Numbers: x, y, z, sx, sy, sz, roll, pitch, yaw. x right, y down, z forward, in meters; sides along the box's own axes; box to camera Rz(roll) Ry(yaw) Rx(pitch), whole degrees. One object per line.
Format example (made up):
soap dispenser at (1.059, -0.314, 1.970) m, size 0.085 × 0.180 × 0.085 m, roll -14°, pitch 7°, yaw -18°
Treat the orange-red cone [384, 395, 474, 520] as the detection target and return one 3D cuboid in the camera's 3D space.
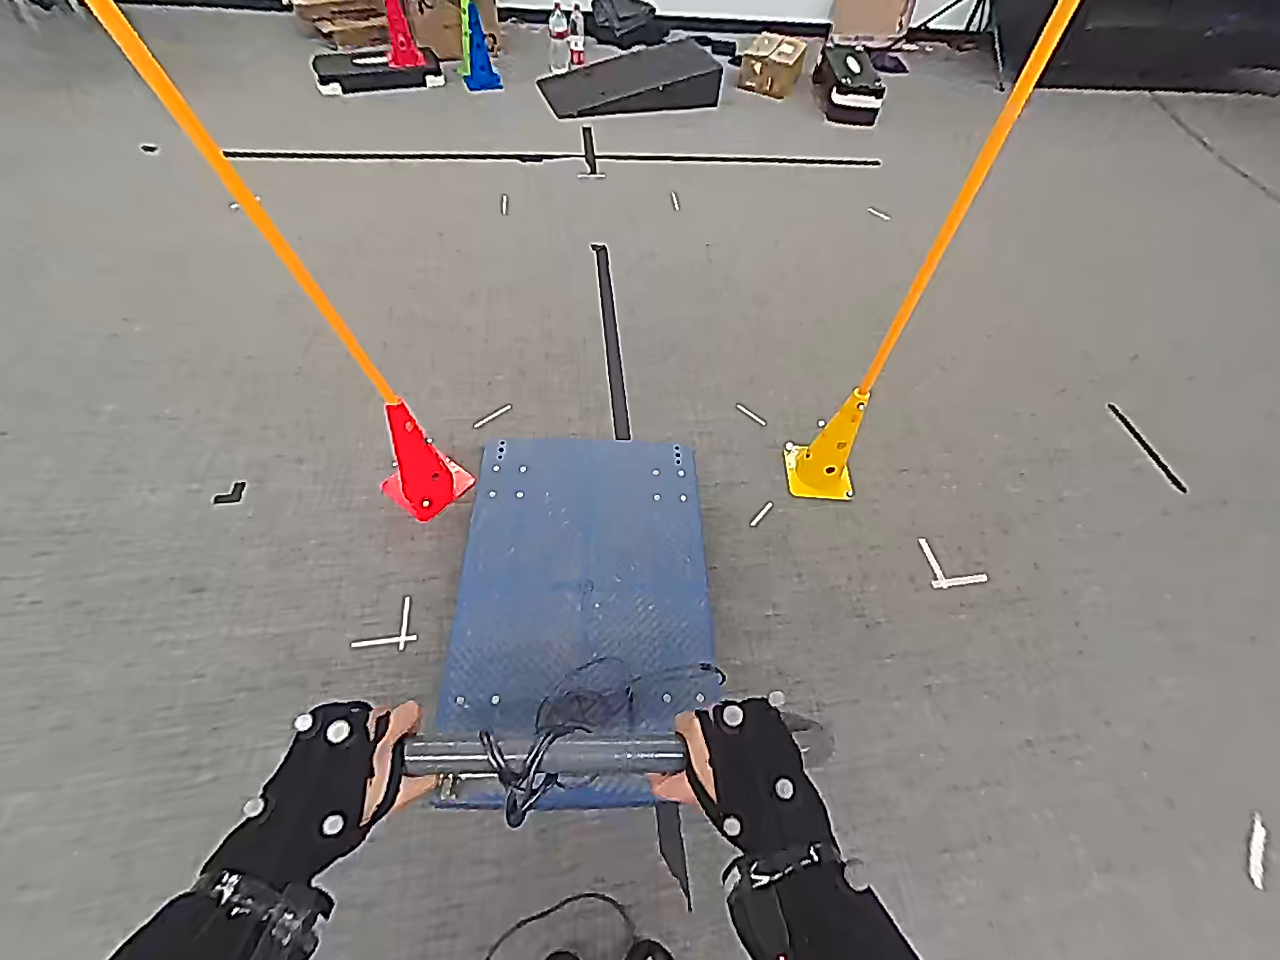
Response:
orange-red cone at (-0.596, -0.089, 1.435) m, size 0.198 × 0.360 × 0.199 m, roll 35°, pitch 58°, yaw 17°
